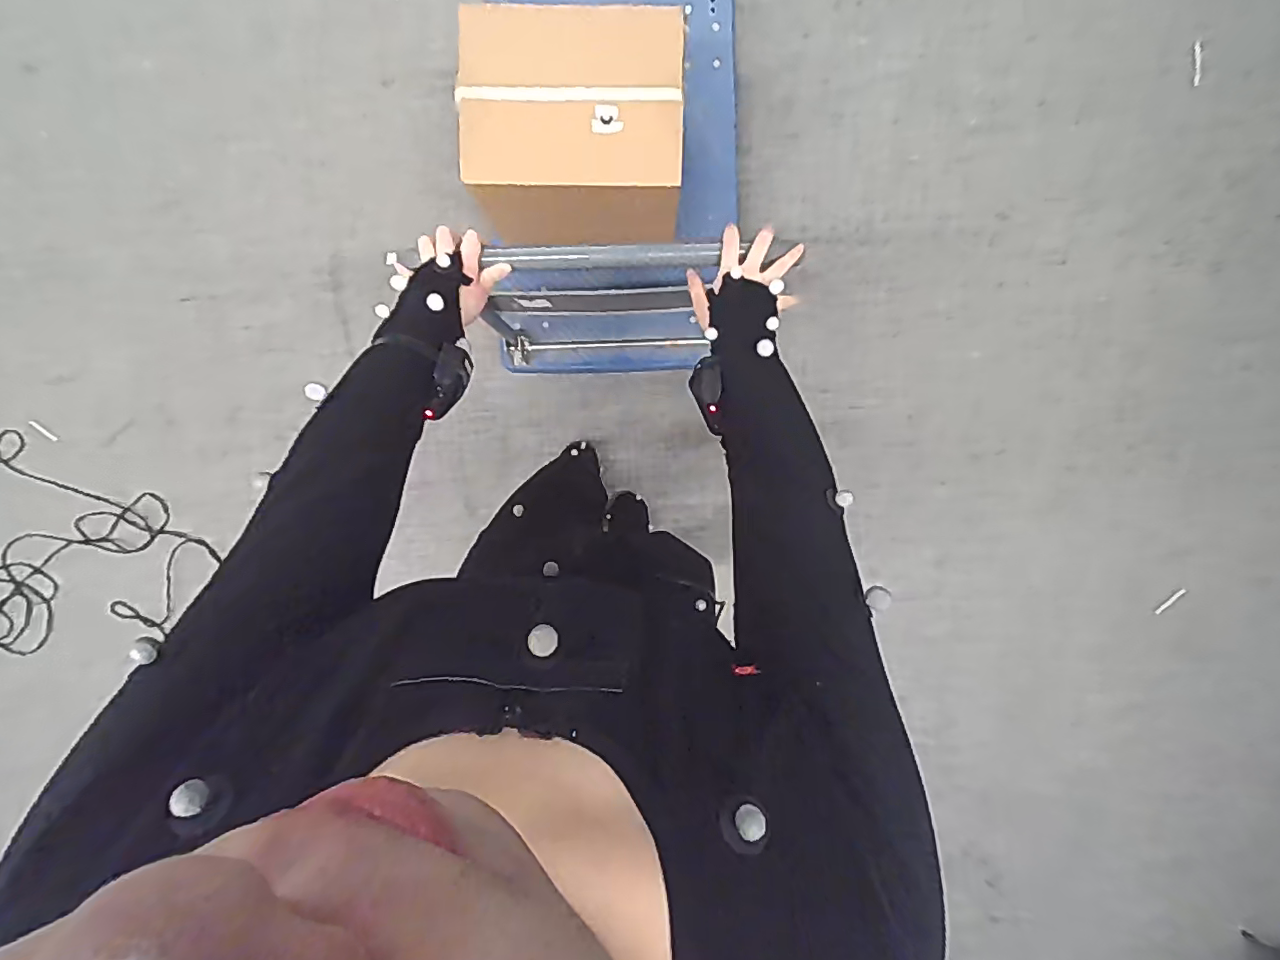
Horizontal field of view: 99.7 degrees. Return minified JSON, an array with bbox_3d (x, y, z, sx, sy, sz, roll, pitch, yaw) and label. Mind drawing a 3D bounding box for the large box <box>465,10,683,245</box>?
[{"bbox_3d":[-0.124,-0.708,1.139,0.408,0.320,0.320,1,94,-1],"label":"large box"}]
